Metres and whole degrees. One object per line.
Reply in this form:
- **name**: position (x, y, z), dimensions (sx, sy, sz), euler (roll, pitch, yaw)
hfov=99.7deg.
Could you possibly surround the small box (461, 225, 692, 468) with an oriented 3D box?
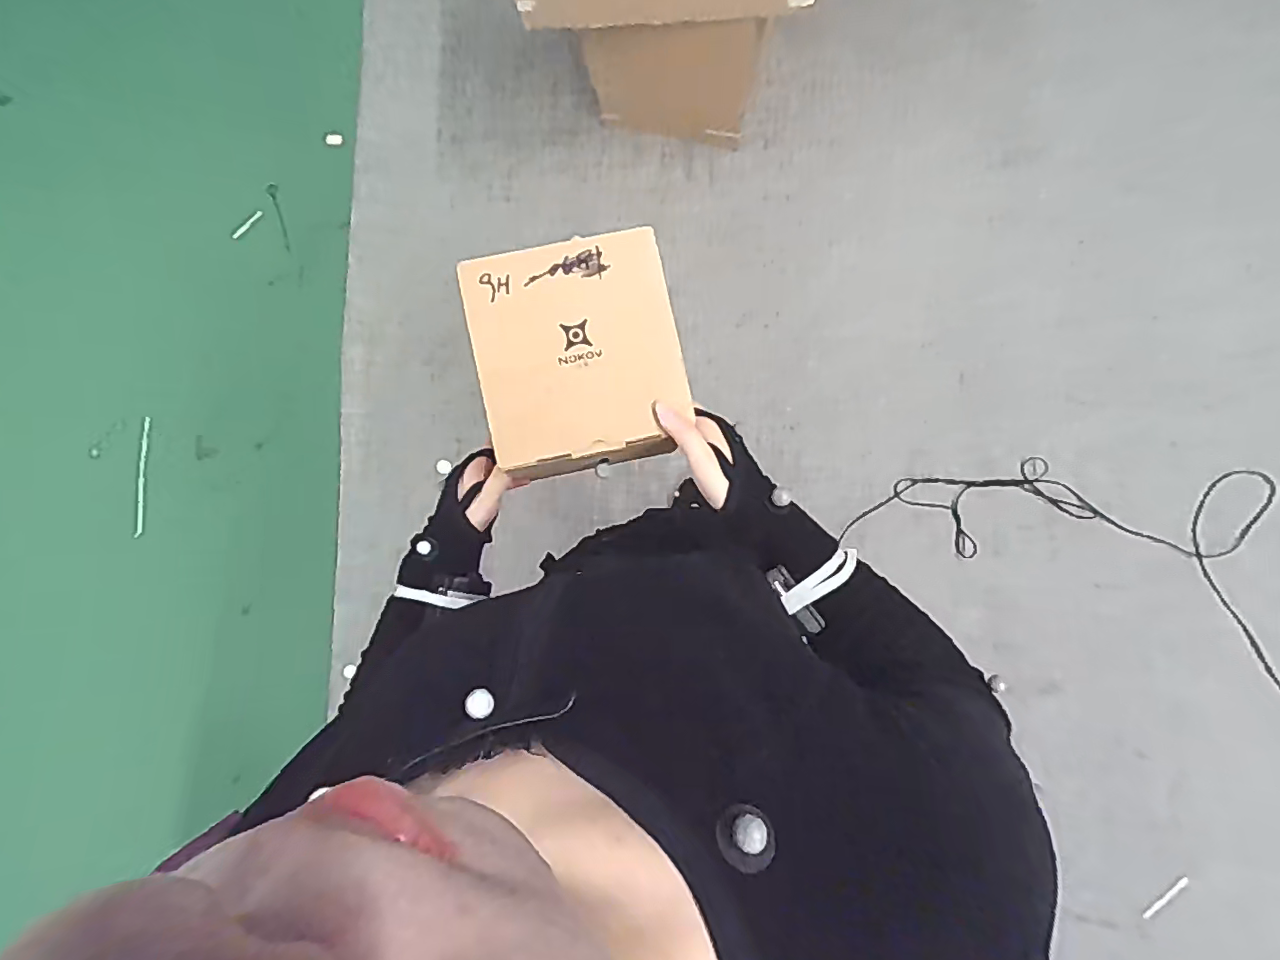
- **small box**: position (-0.053, -0.109, 0.521), dimensions (0.168, 0.176, 0.179), euler (-12, 88, -3)
